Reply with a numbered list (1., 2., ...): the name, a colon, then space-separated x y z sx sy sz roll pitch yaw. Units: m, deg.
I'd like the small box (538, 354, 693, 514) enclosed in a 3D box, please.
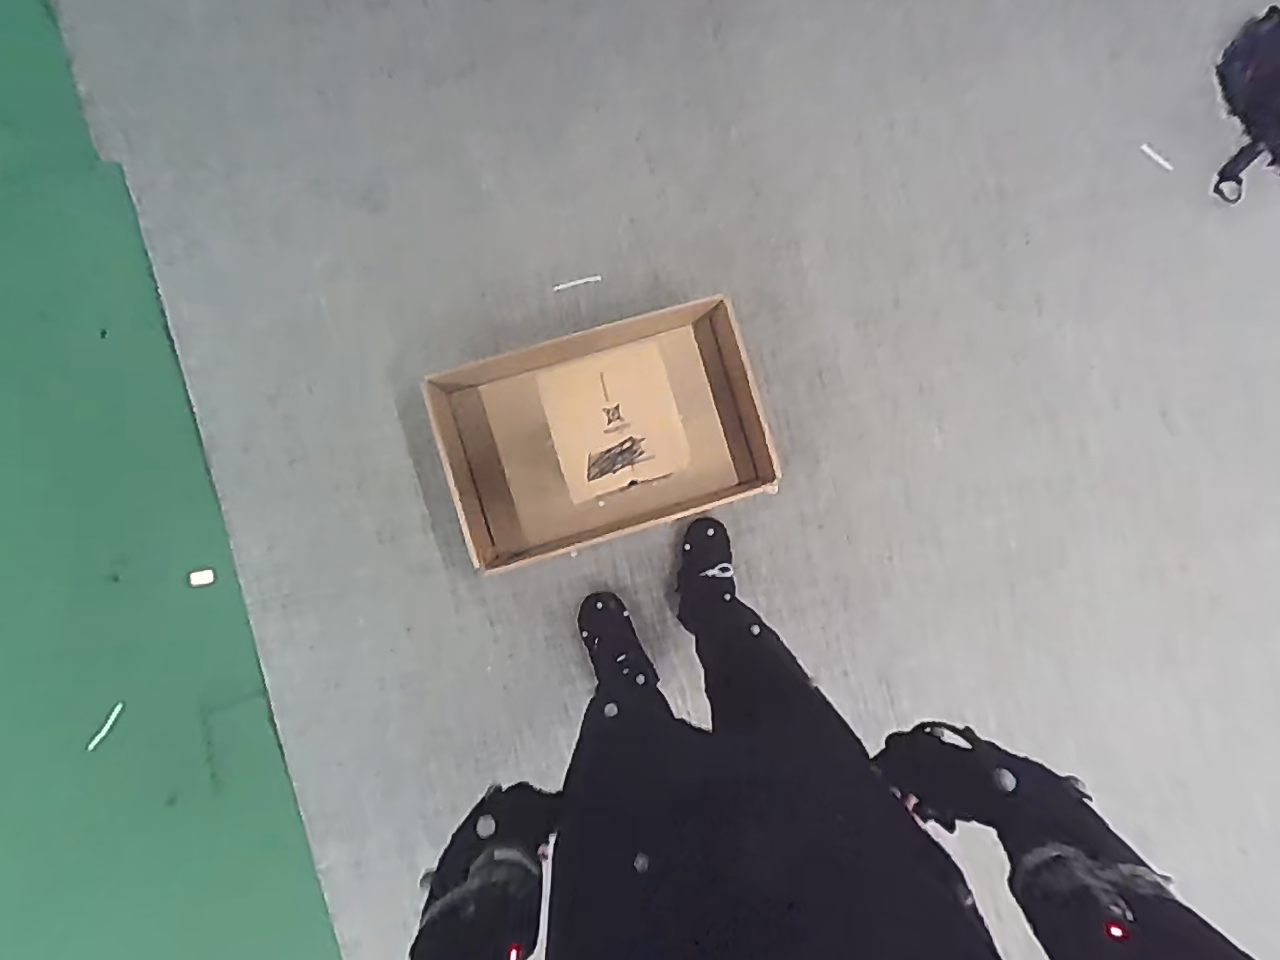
1. small box: -0.033 -0.058 0.777 0.168 0.176 0.179 -17 88 -3
